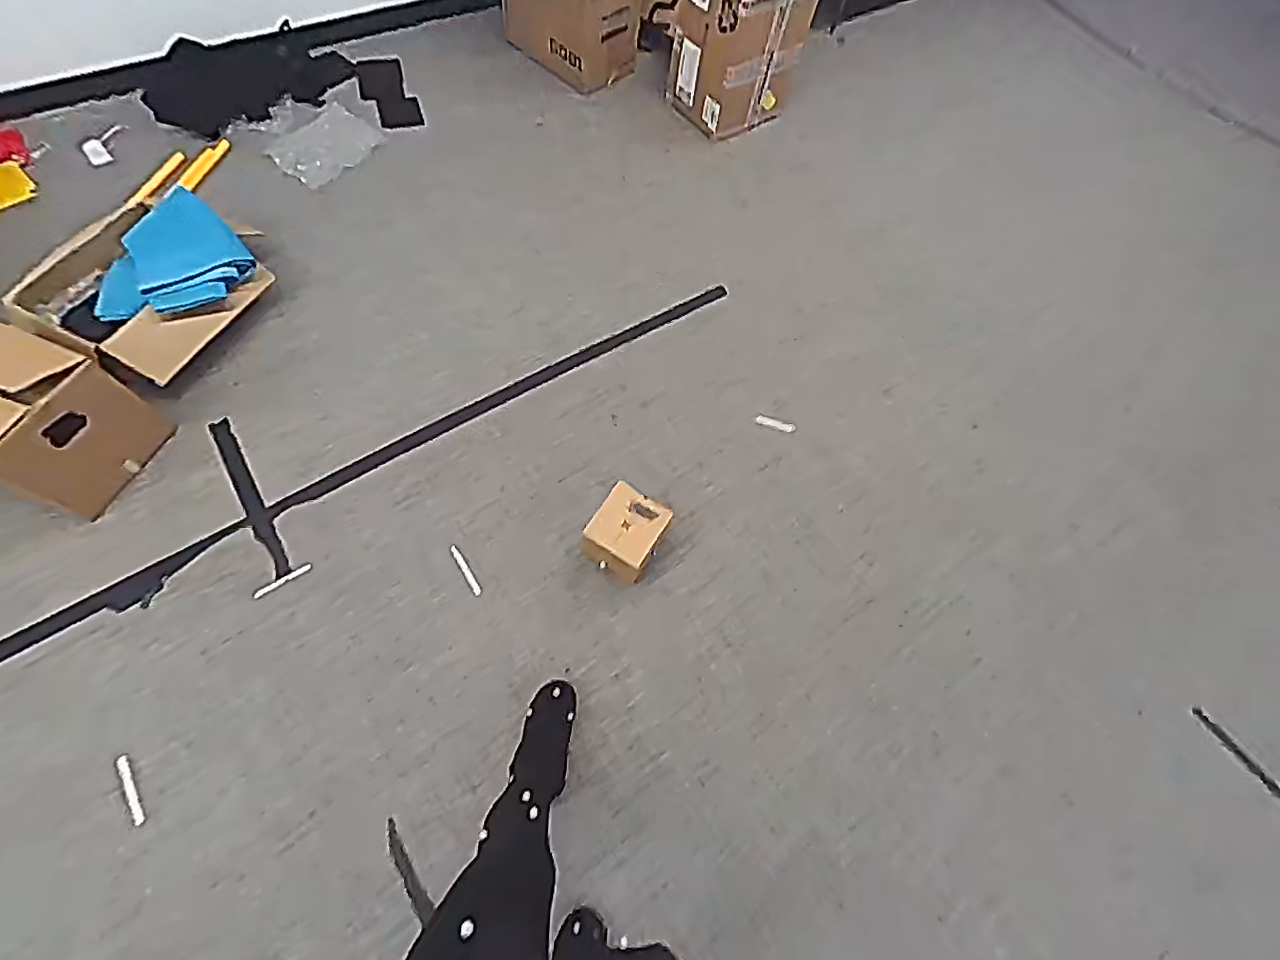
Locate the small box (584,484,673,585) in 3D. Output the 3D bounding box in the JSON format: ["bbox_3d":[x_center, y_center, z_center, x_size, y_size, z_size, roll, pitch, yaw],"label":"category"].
[{"bbox_3d":[-0.036,0.147,1.414,0.168,0.176,0.179,32,66,9],"label":"small box"}]
